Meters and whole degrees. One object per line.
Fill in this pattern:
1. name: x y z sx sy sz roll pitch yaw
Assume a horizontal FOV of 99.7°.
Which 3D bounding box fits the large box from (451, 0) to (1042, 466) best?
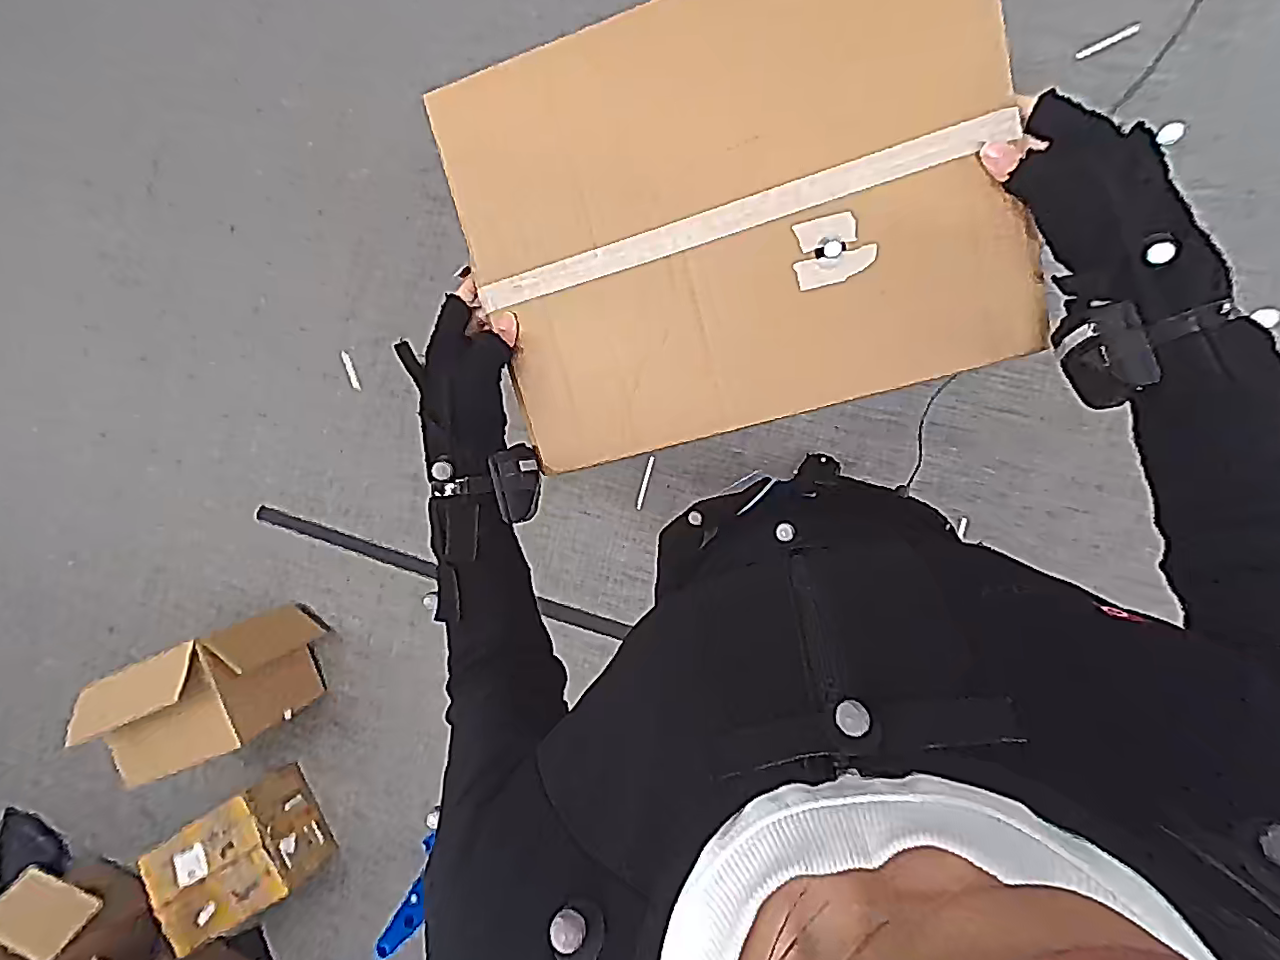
1. large box: 0.094 -0.233 0.564 0.408 0.320 0.320 -14 100 10
